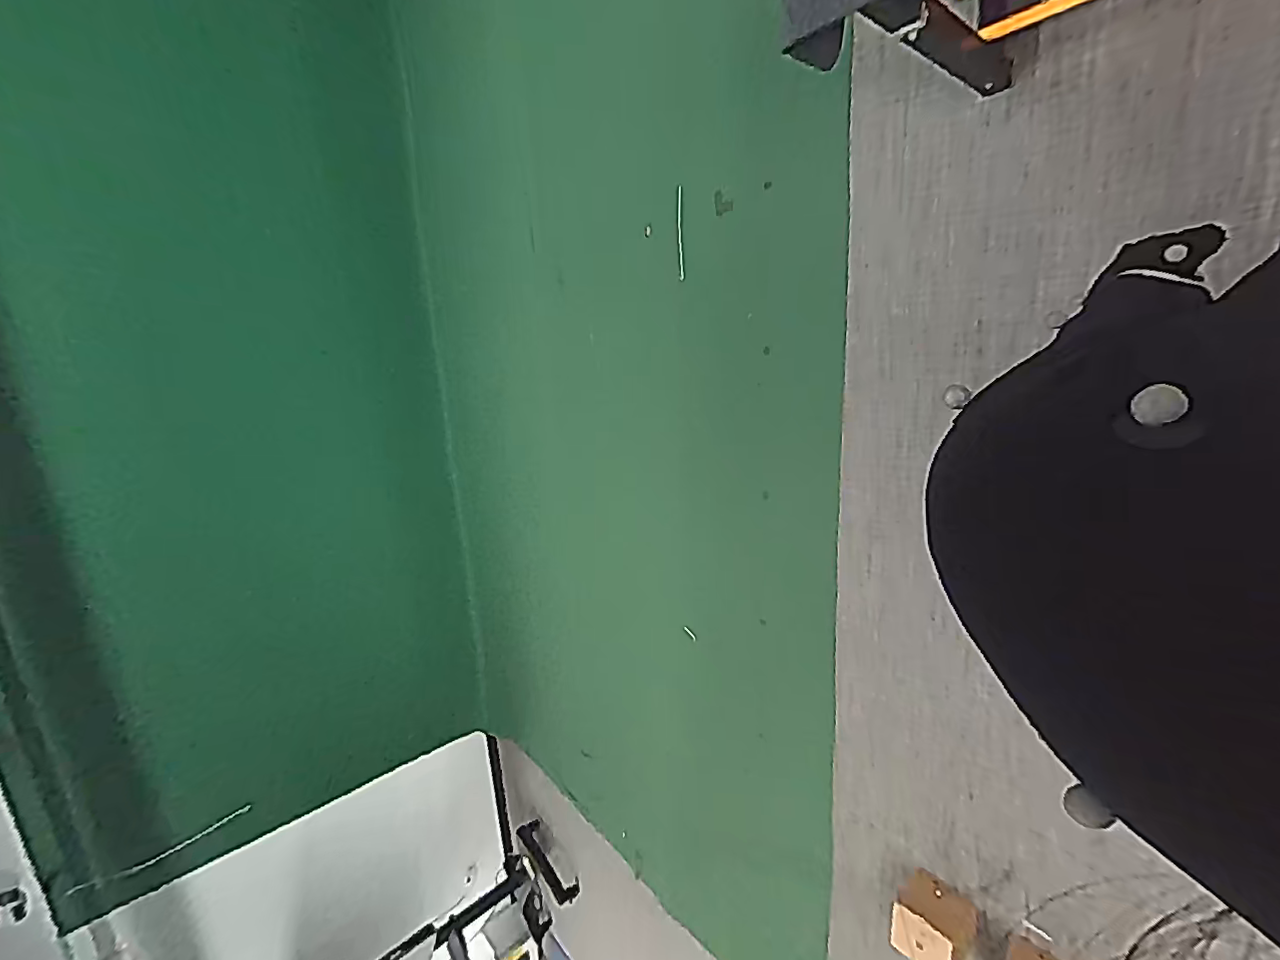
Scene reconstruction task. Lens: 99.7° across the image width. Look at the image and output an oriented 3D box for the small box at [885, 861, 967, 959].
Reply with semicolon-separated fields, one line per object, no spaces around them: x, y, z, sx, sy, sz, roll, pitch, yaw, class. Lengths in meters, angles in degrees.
0.866;1.322;1.638;0.168;0.176;0.179;14;110;48;small box
